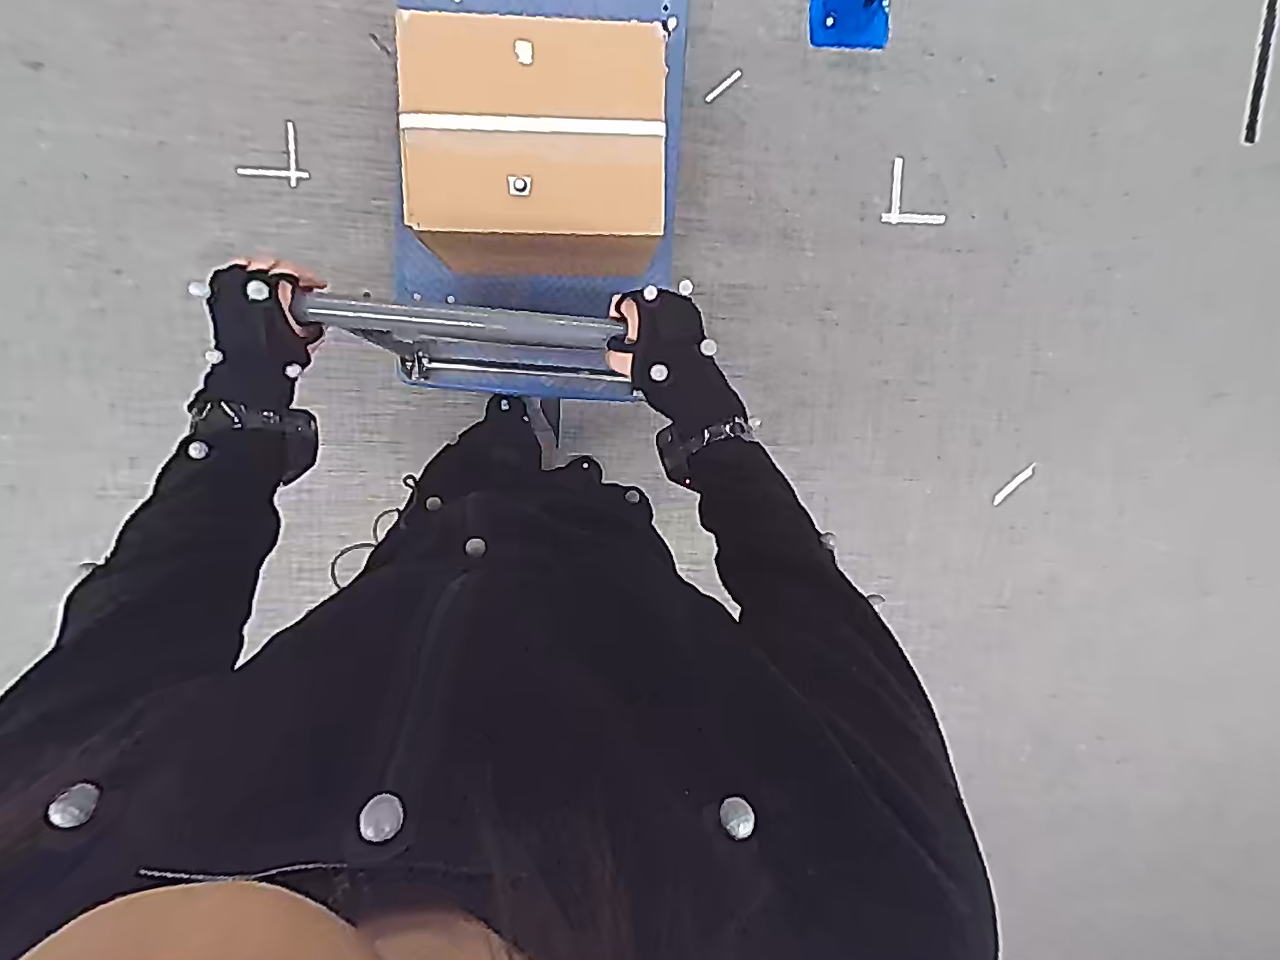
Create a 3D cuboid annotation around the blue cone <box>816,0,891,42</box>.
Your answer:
[{"bbox_3d":[0.529,-1.137,1.137,0.193,0.380,0.192,-2,98,-6],"label":"blue cone"}]
